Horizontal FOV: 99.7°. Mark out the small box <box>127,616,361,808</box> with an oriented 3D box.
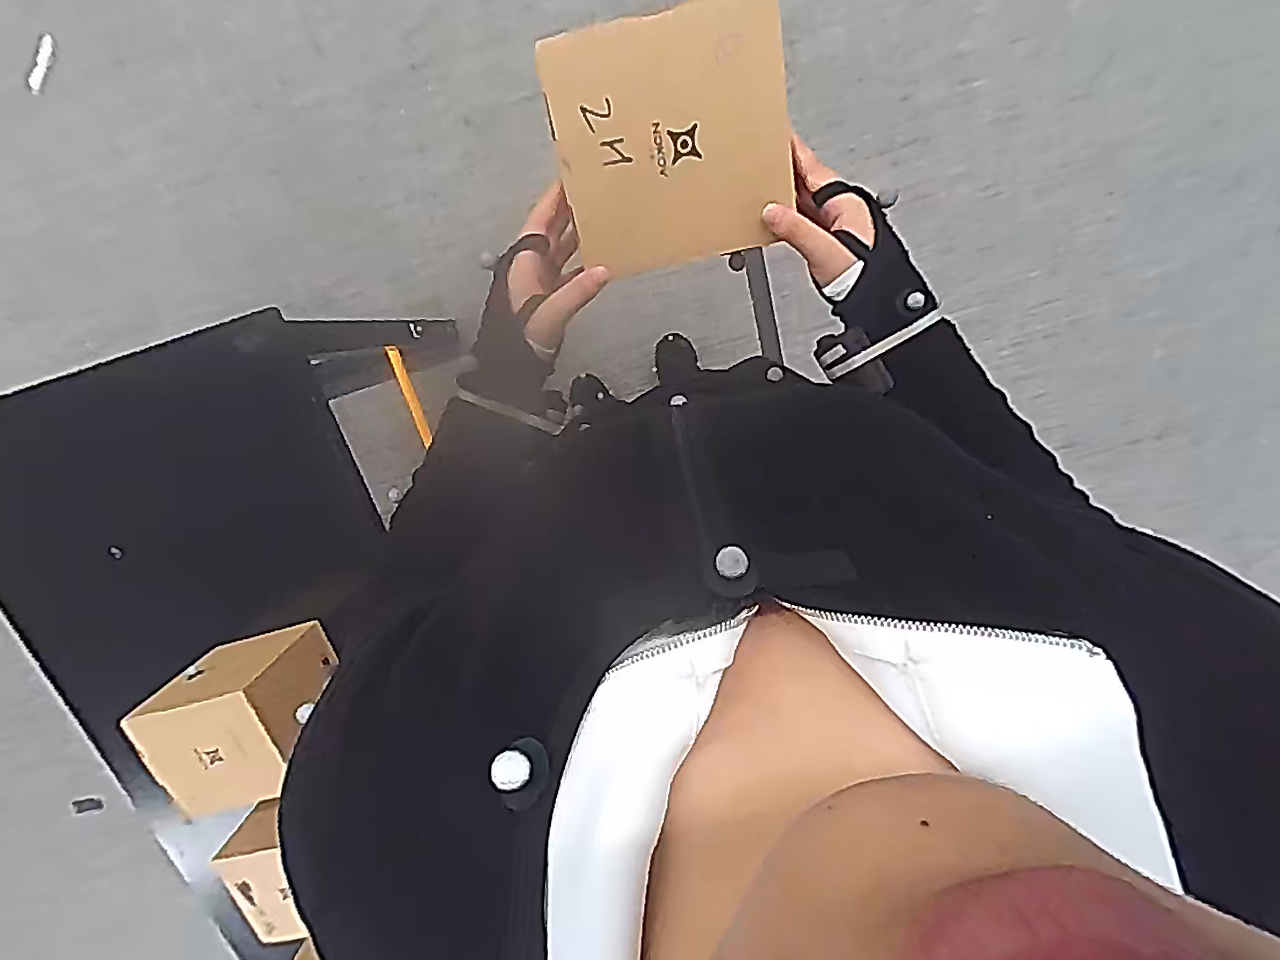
[{"bbox_3d":[-0.549,0.323,0.778,0.179,0.176,0.168,-16,107,4],"label":"small box"}]
